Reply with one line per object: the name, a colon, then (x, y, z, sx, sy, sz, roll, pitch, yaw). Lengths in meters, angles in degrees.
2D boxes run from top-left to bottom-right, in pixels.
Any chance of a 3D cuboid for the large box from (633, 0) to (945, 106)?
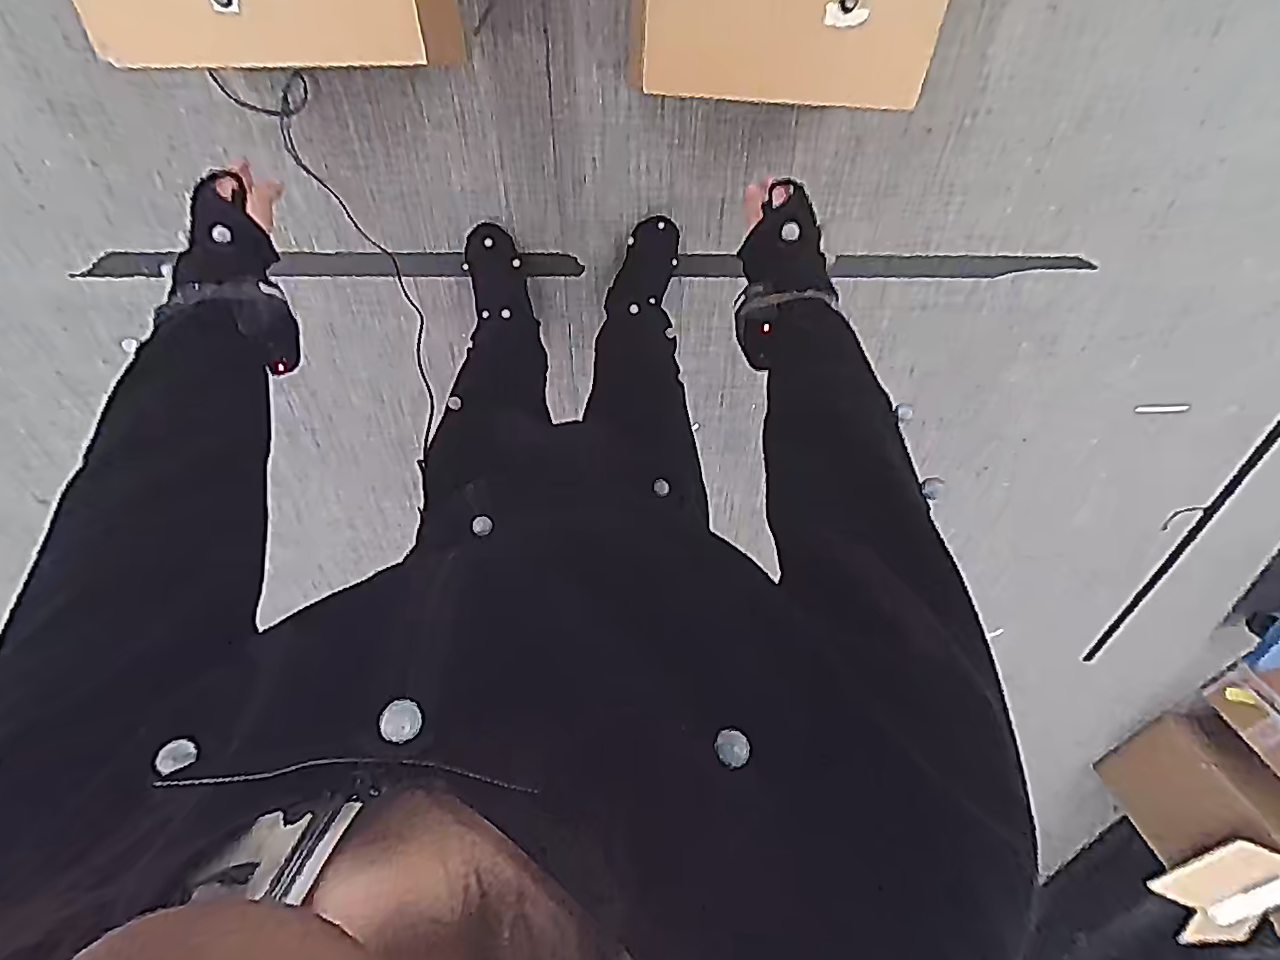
large box: (0.201, -0.760, 0.807, 0.408, 0.320, 0.320, 0, 127, -6)
